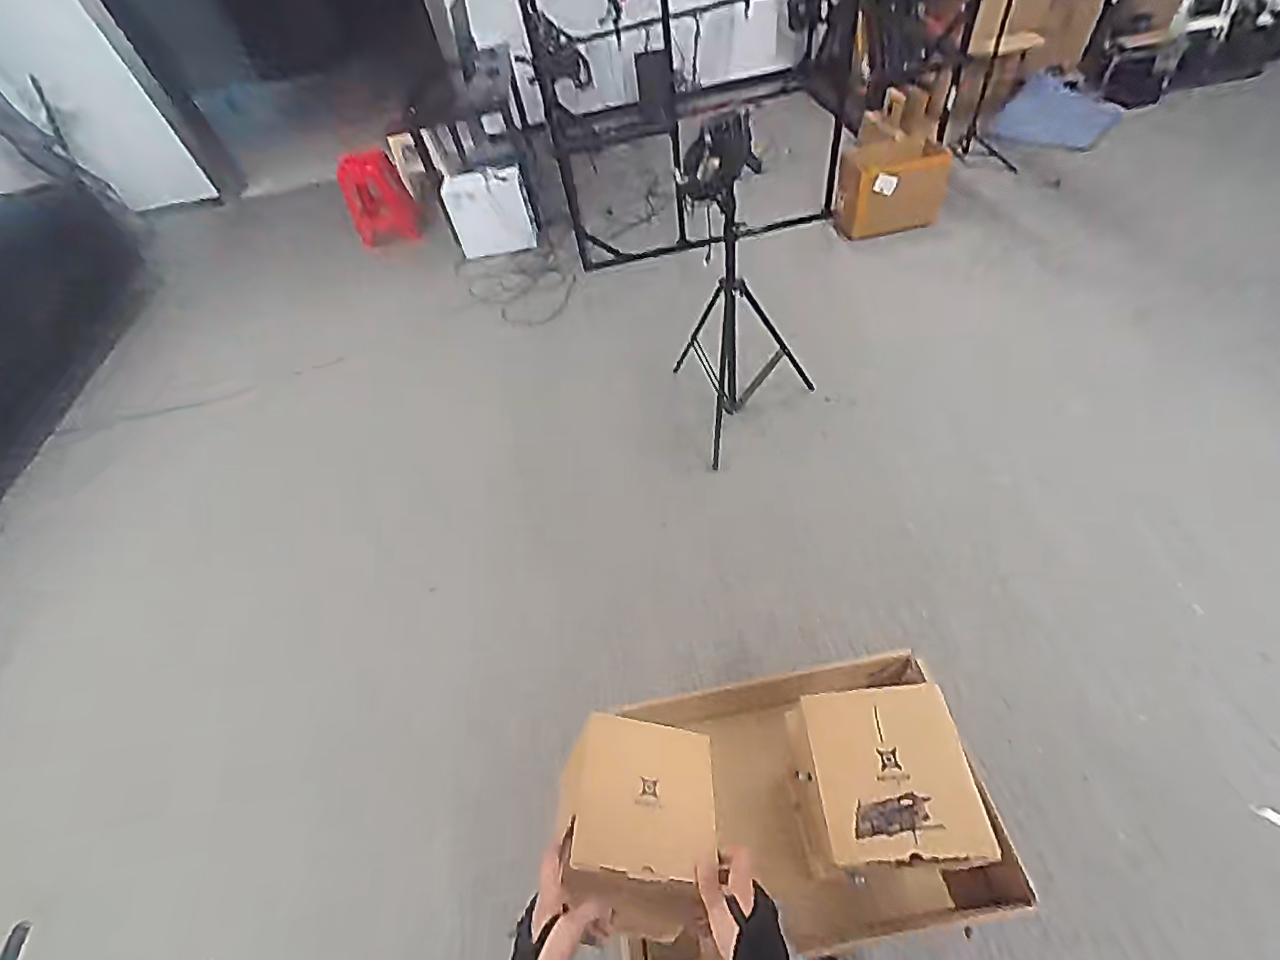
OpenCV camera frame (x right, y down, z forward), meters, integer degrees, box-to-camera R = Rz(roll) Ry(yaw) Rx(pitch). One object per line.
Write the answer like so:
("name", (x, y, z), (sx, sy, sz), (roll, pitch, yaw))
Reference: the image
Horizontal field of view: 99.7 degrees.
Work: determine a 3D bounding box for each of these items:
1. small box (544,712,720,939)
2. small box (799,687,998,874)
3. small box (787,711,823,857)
("small box", (-0.014, 0.428, 0.674), (0.168, 0.176, 0.179), (15, 34, -8))
("small box", (0.295, 0.373, 0.663), (0.168, 0.176, 0.179), (-8, 50, 8))
("small box", (0.322, 0.450, 0.811), (0.168, 0.176, 0.179), (-13, 51, 5))
